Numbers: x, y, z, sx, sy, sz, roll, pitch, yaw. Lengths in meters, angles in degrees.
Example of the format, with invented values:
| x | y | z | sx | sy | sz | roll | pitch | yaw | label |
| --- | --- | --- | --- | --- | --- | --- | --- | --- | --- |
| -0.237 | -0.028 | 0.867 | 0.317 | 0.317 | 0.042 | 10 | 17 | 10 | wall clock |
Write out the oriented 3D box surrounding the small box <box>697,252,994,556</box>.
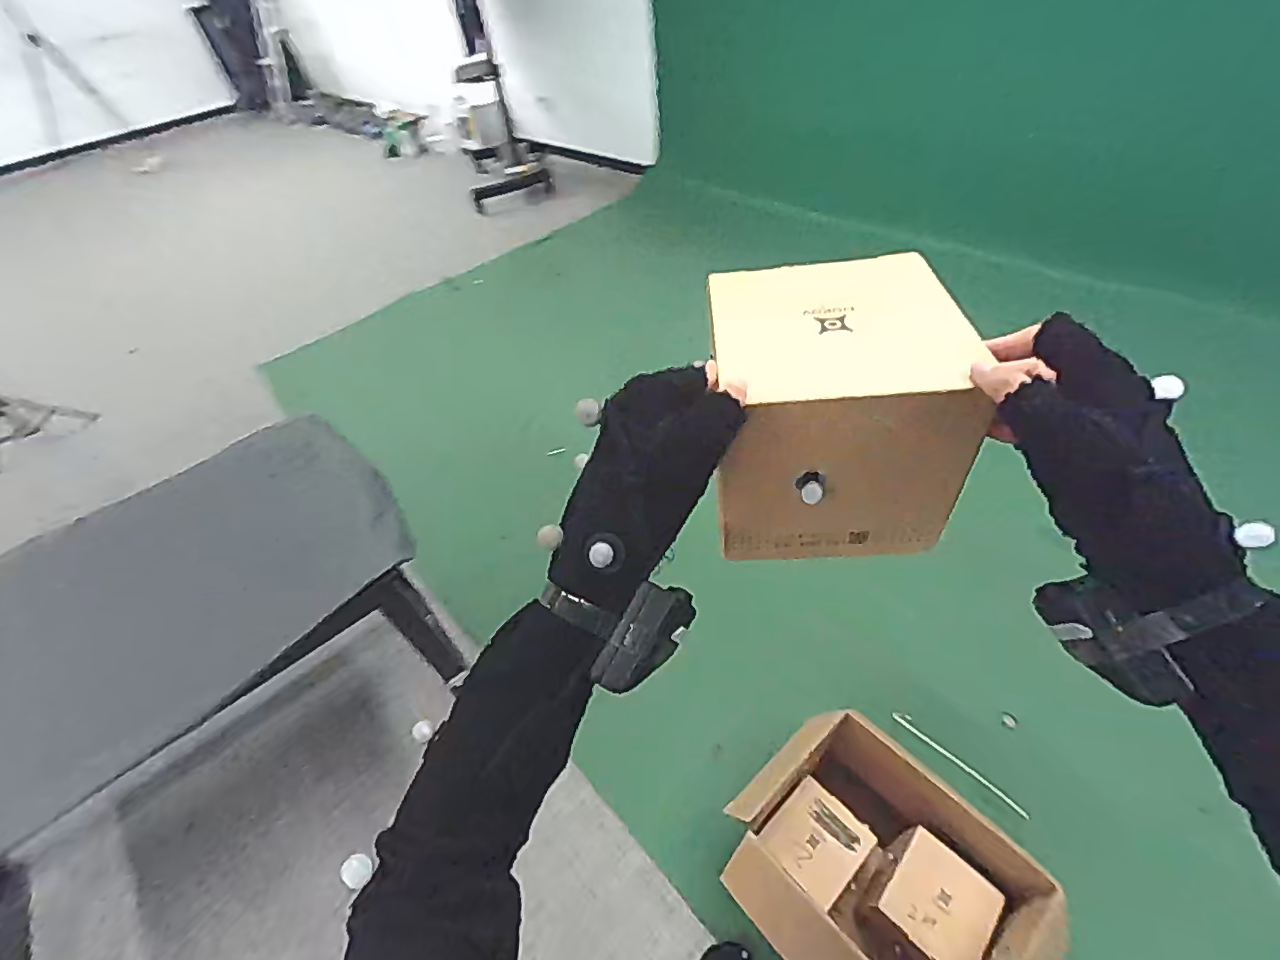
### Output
| x | y | z | sx | sy | sz | roll | pitch | yaw | label |
| --- | --- | --- | --- | --- | --- | --- | --- | --- | --- |
| 0.135 | -0.052 | 0.427 | 0.168 | 0.176 | 0.179 | -4 | 45 | 6 | small box |
